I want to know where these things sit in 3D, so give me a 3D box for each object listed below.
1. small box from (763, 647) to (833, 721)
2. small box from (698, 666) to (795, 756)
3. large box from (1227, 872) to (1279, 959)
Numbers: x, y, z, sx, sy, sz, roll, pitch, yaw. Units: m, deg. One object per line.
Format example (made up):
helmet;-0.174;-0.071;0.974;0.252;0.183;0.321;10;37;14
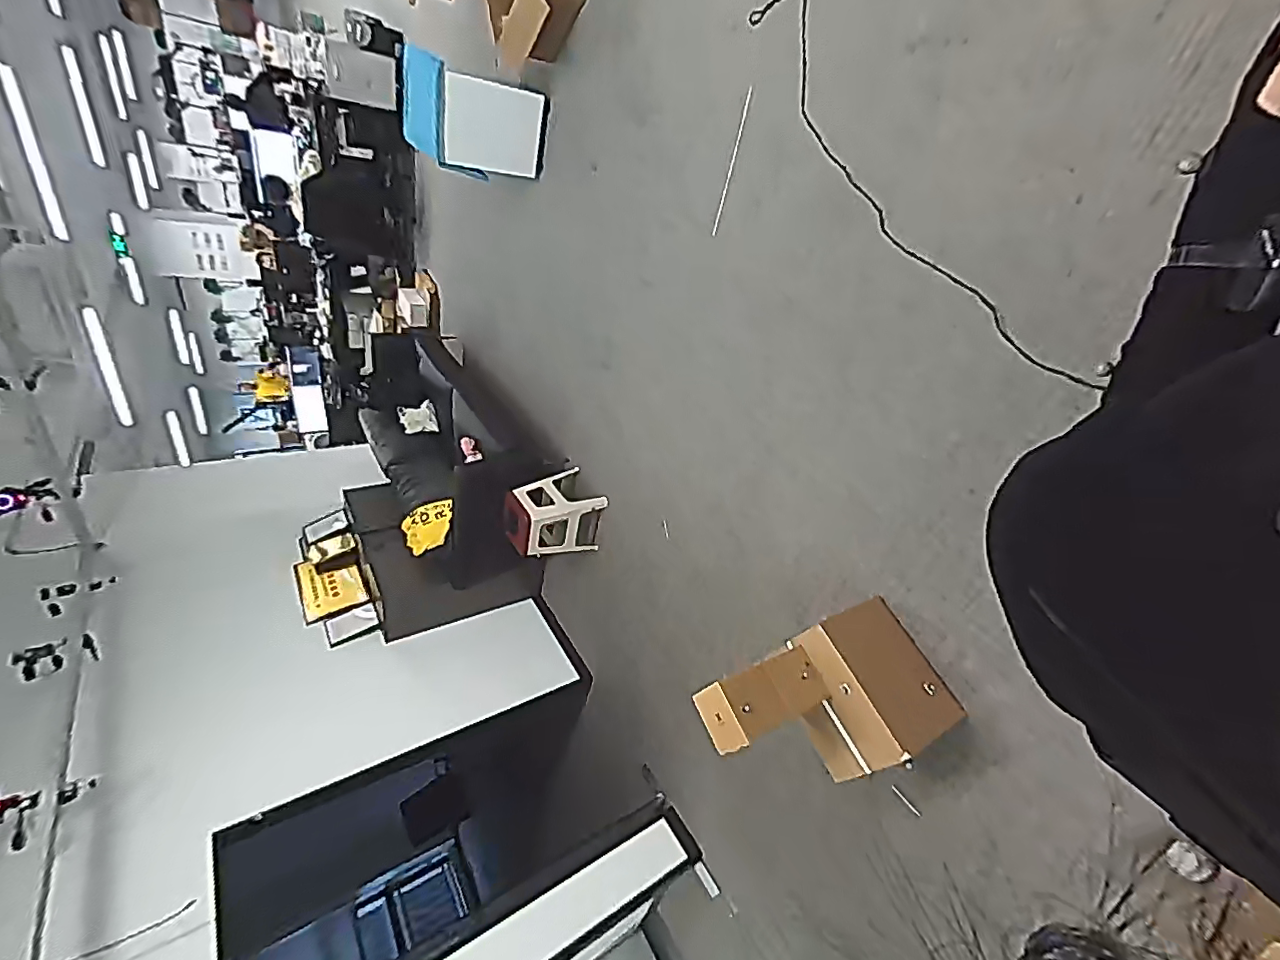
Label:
small box;0.439;0.628;1.622;0.168;0.176;0.179;61;143;25
small box;0.301;0.648;1.538;0.179;0.176;0.168;61;144;24
large box;1.293;0.941;0.890;0.408;0.320;0.320;30;124;47
